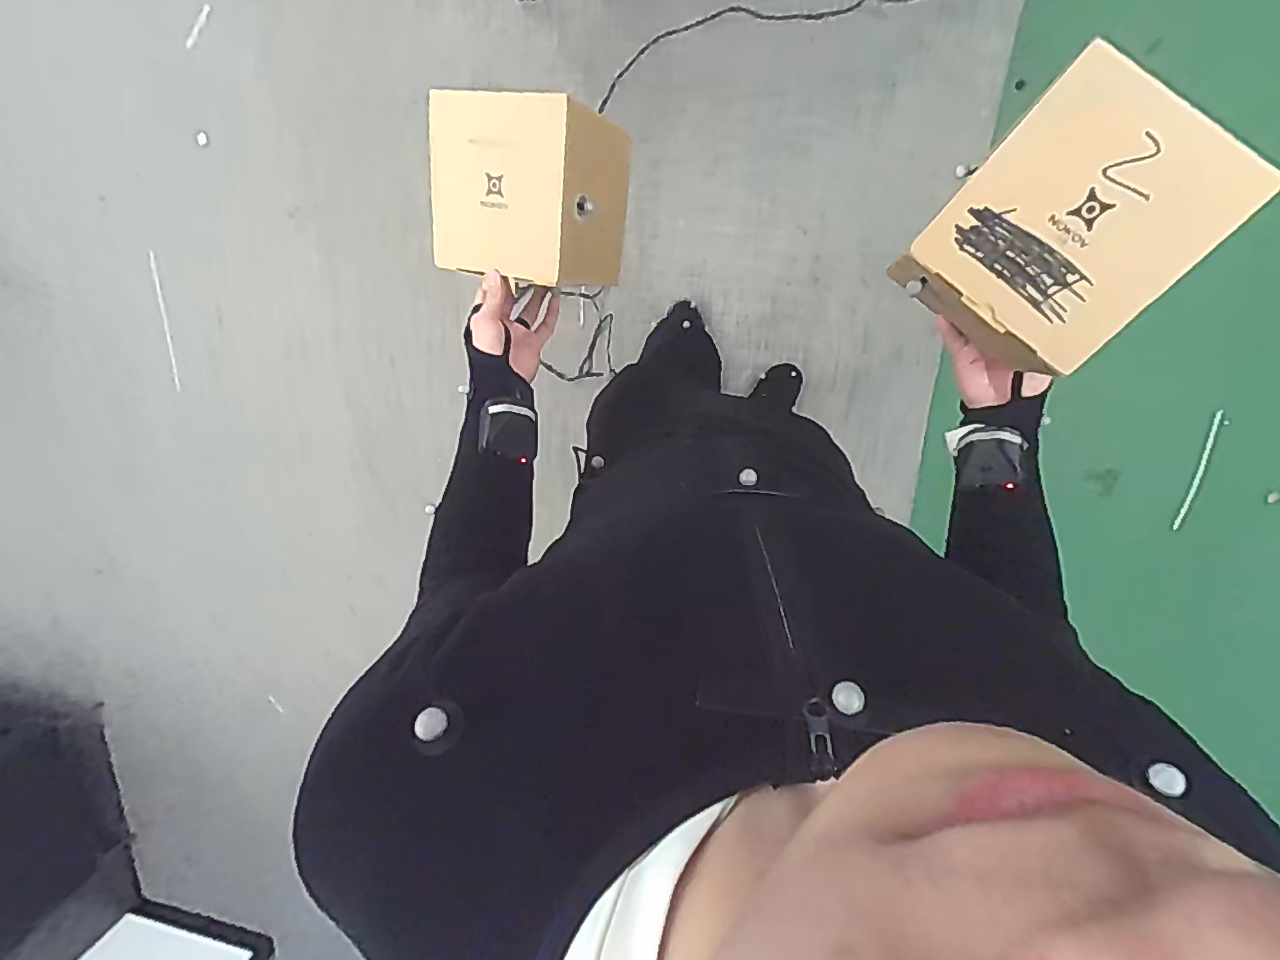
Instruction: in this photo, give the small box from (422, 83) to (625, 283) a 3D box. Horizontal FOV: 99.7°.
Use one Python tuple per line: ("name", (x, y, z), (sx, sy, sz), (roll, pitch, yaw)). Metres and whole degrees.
("small box", (-0.128, -0.334, 0.633), (0.168, 0.176, 0.179), (15, 114, 17))
